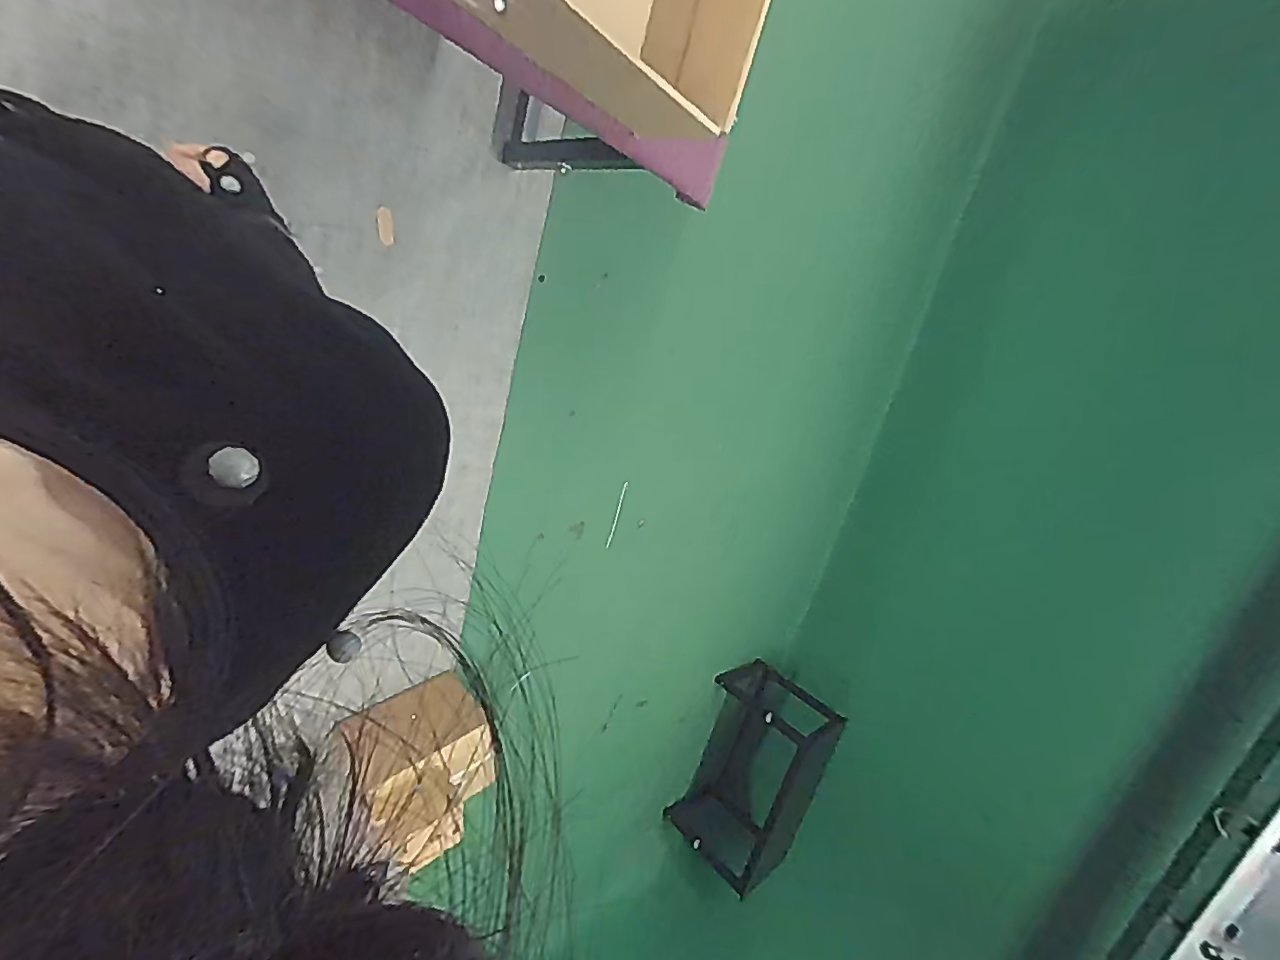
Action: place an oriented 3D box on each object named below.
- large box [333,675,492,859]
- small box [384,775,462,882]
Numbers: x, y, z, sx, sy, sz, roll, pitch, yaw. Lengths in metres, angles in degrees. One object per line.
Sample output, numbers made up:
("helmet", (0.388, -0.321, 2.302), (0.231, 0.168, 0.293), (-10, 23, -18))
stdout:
("large box", (-0.771, 0.959, 1.858), (0.408, 0.320, 0.320), (-18, 124, -42))
("small box", (-0.662, 1.048, 1.638), (0.179, 0.176, 0.168), (-12, 119, -43))
